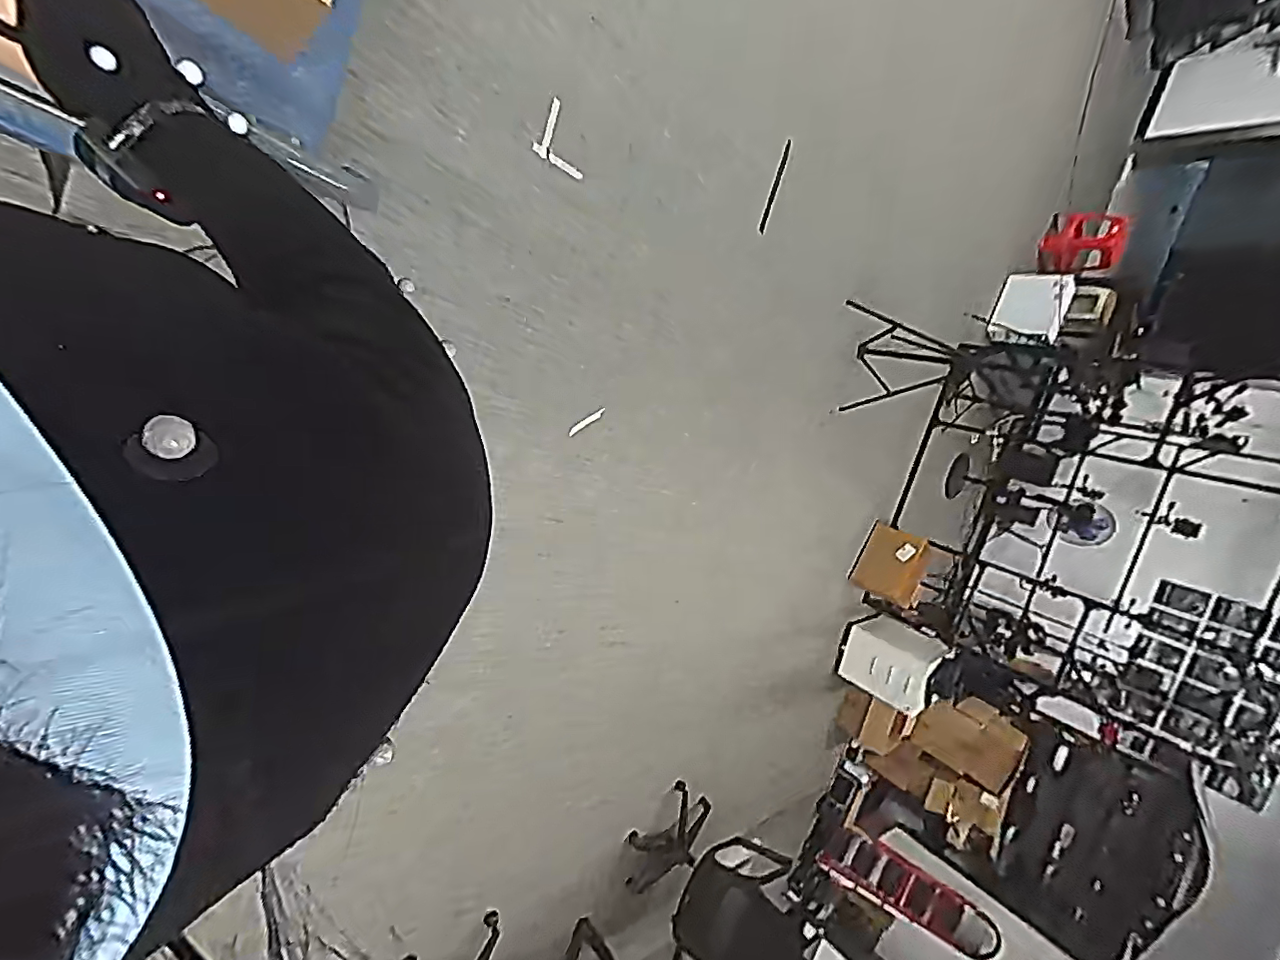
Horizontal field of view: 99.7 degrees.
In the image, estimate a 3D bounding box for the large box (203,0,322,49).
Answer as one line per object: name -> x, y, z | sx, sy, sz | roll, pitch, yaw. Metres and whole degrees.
large box -> -0.640, -0.913, 0.734 | 0.408, 0.320, 0.320 | 15, 95, -44
